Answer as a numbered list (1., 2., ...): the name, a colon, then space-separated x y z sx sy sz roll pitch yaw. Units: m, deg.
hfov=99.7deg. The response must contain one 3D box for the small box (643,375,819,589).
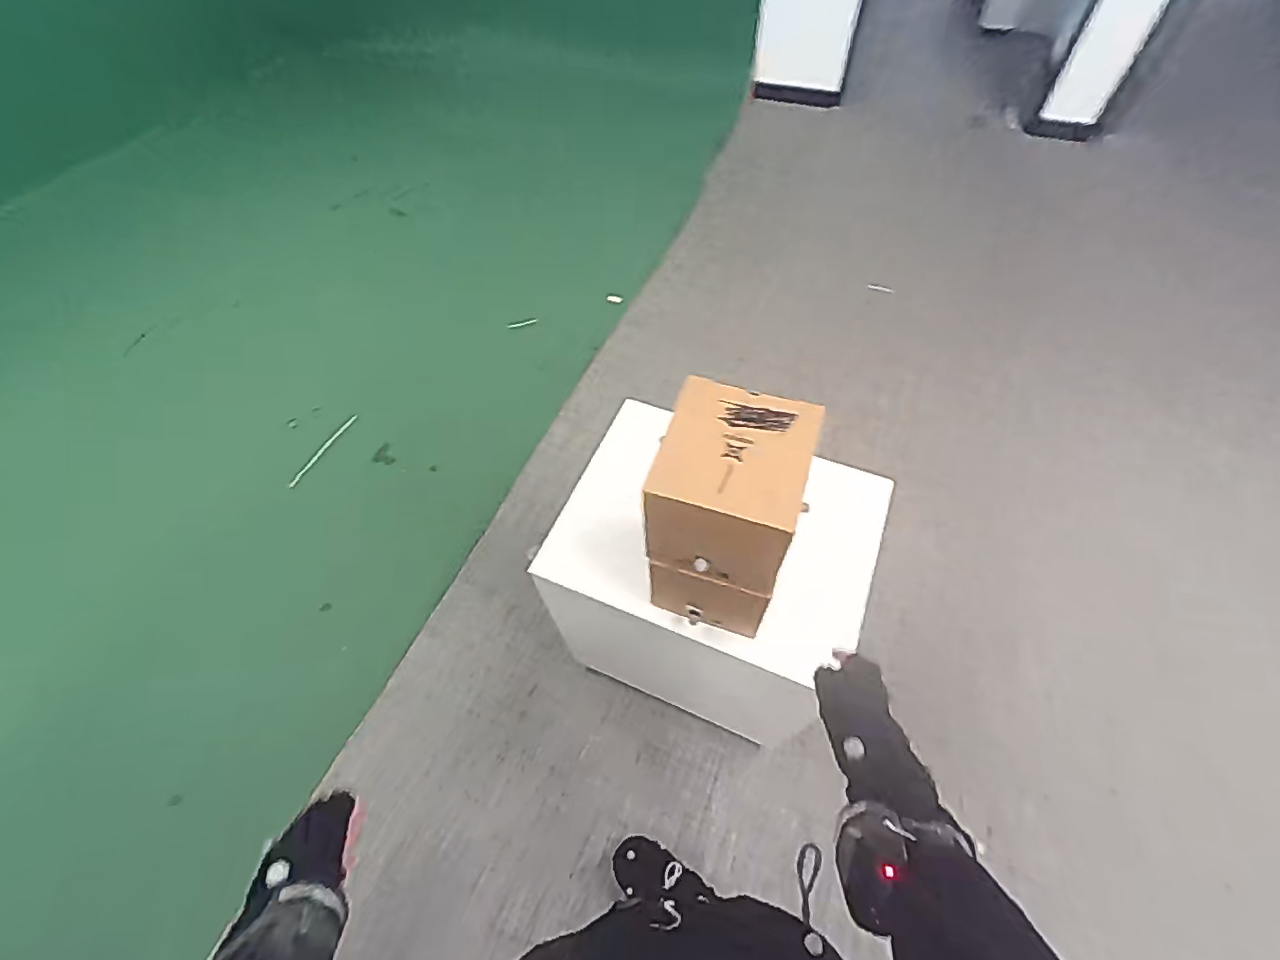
1. small box: 0.106 0.005 0.653 0.168 0.176 0.179 12 57 12

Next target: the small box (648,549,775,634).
1. small box: 0.117 0.099 0.787 0.168 0.176 0.179 14 60 14
